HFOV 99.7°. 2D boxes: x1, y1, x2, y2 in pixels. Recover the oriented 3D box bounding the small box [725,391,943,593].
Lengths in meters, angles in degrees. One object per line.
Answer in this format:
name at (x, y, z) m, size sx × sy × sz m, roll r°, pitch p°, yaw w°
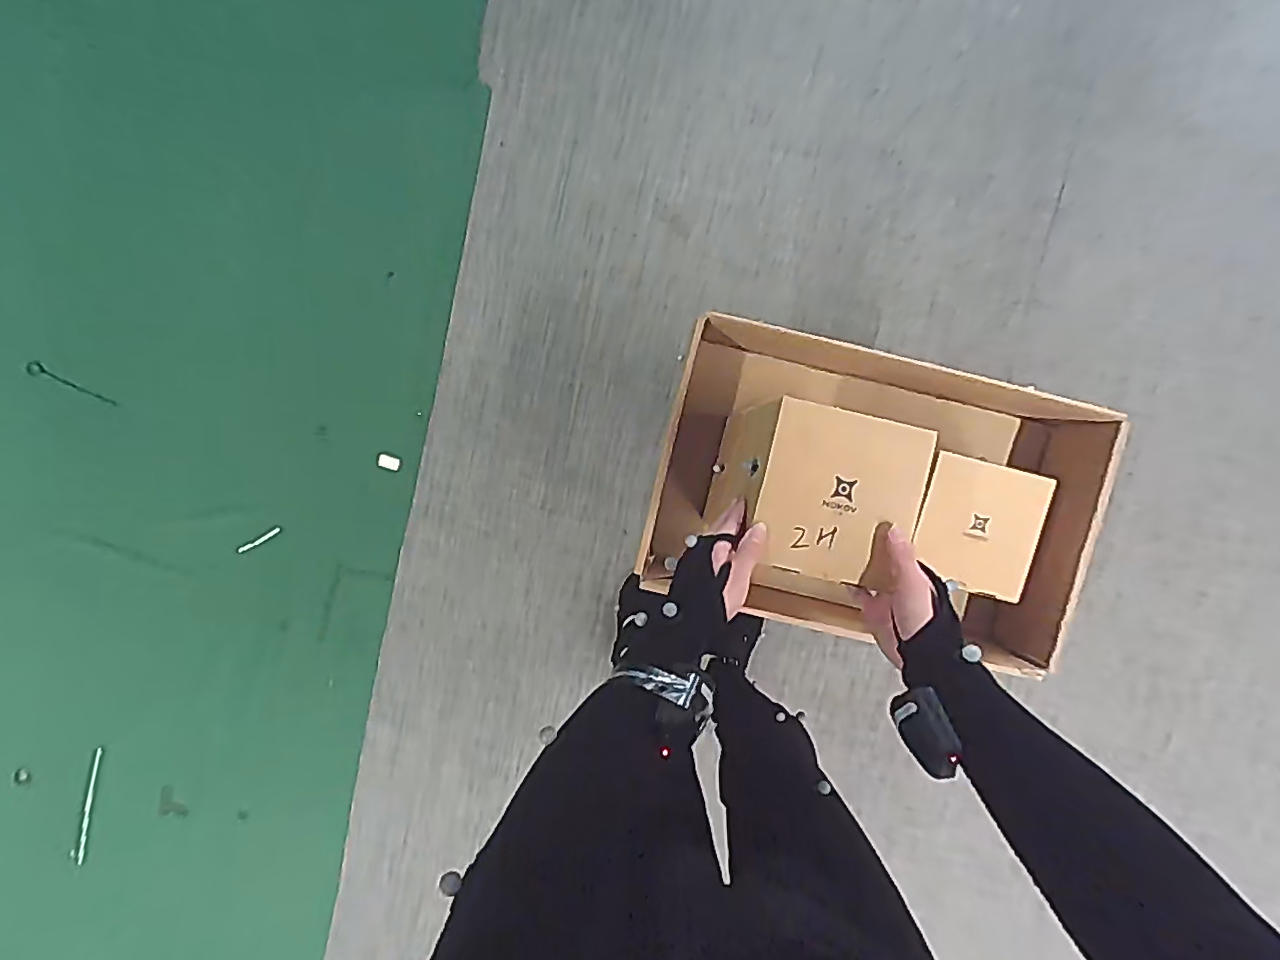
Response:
small box at (0.206, 0.009, 0.625) m, size 0.168 × 0.176 × 0.179 m, roll 14°, pitch 93°, yaw -2°
